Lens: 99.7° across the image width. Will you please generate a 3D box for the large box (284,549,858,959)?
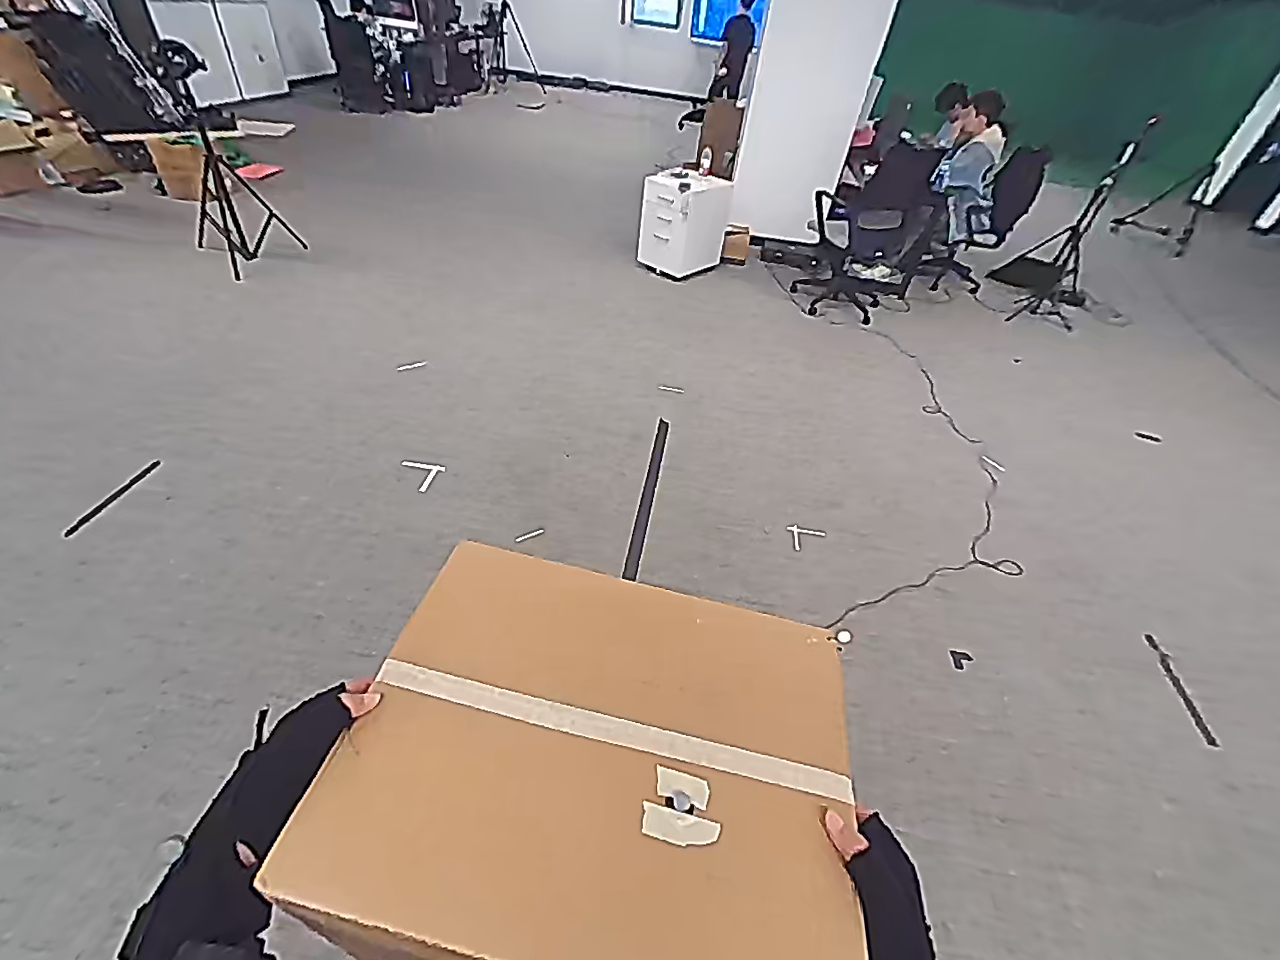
[{"bbox_3d":[-0.045,0.323,0.563,0.408,0.320,0.320,14,42,3],"label":"large box"}]
